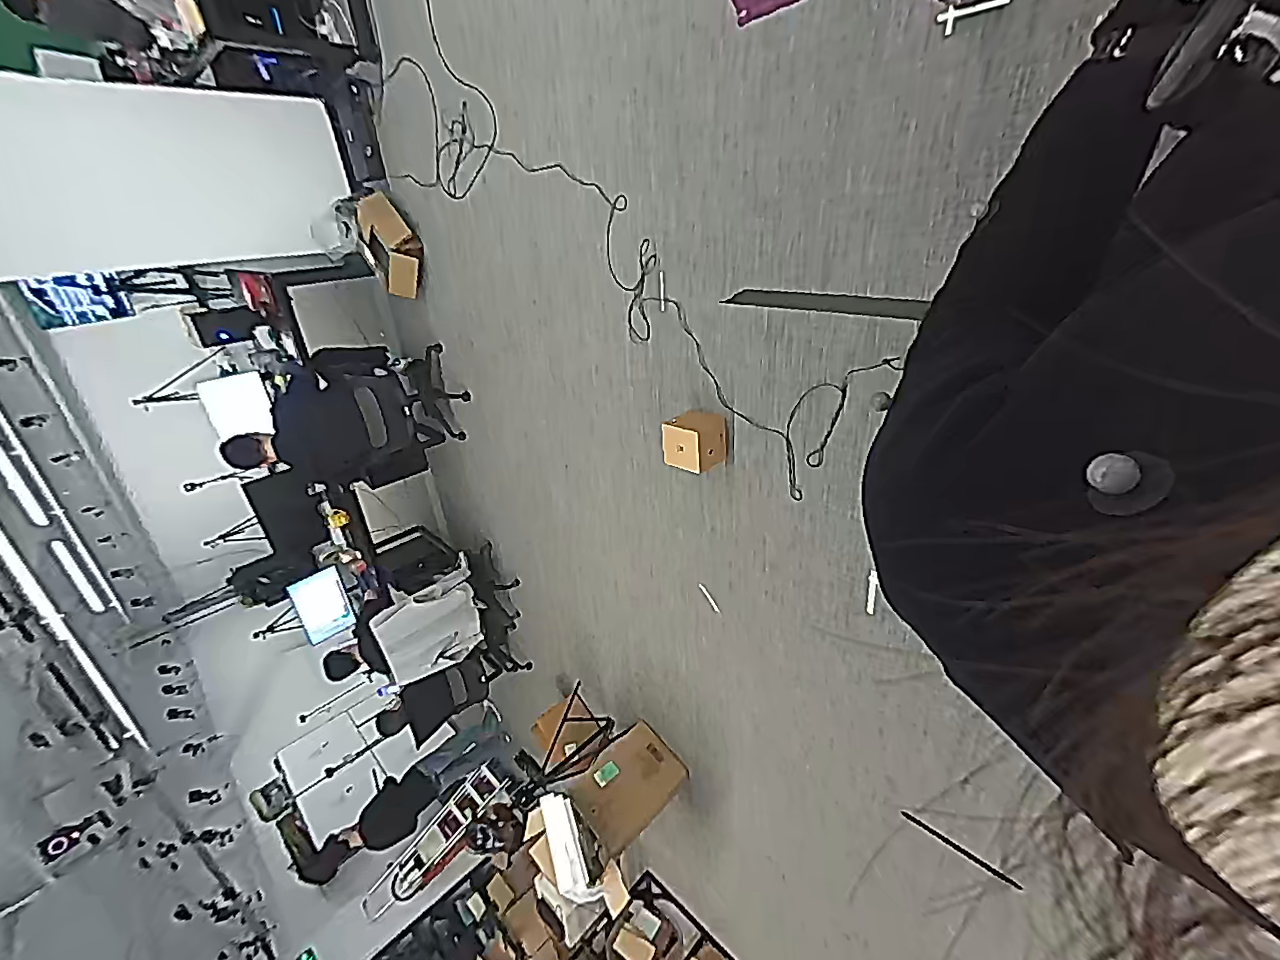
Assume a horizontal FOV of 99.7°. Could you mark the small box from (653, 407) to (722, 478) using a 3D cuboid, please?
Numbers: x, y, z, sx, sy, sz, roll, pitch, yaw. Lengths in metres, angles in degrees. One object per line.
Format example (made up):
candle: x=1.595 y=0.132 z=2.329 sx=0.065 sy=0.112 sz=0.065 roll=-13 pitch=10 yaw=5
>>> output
small box: x=0.170 y=-0.138 z=1.997 sx=0.168 sy=0.176 sz=0.179 roll=39 pitch=159 yaw=56
